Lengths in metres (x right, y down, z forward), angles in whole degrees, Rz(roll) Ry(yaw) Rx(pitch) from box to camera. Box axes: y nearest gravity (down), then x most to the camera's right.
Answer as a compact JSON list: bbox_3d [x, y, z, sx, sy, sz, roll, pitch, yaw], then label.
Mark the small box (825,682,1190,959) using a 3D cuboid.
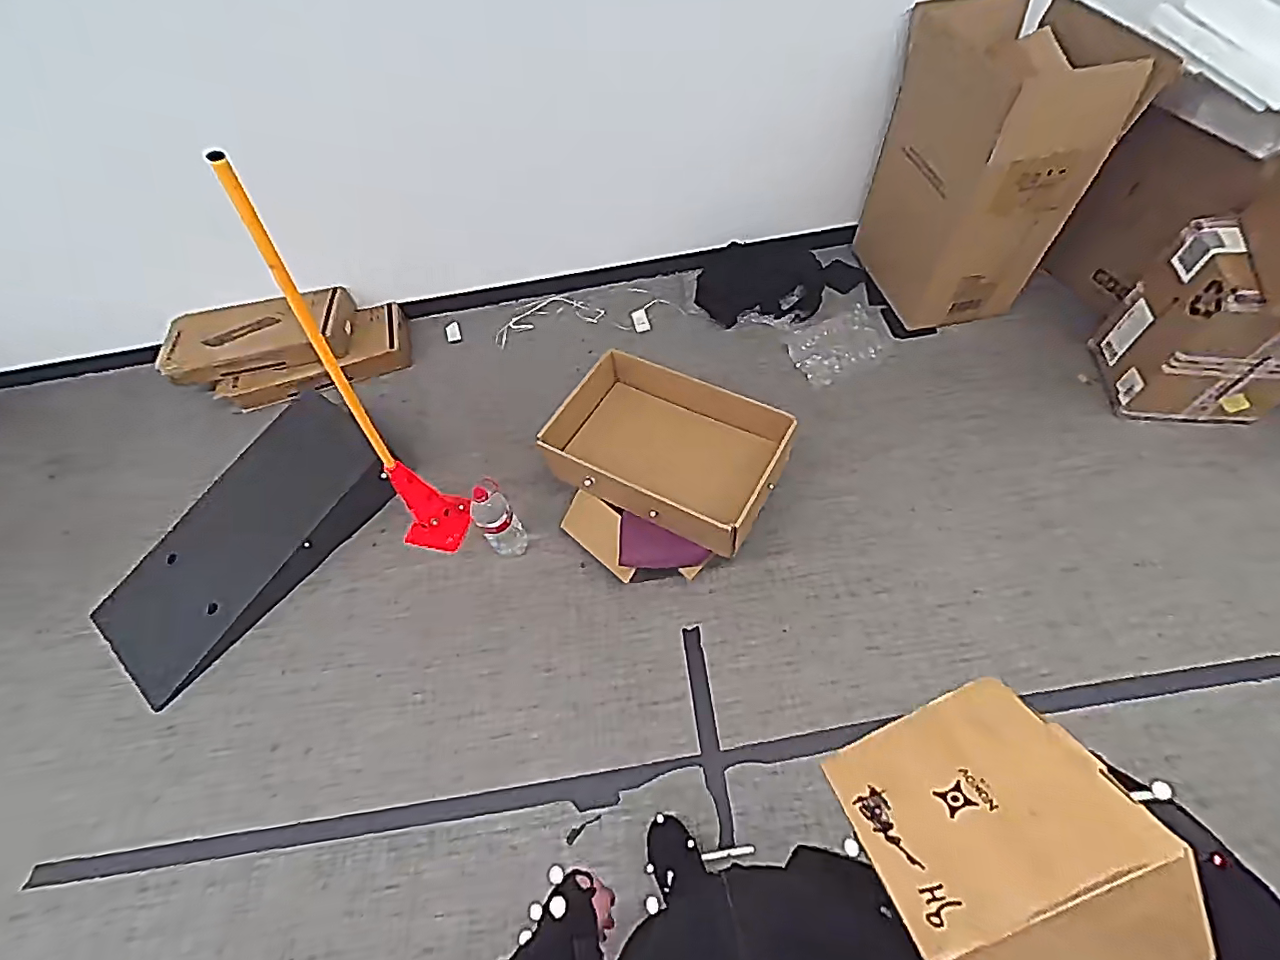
[{"bbox_3d":[0.288,0.313,0.443,0.179,0.176,0.168,-28,17,3],"label":"small box"}]
